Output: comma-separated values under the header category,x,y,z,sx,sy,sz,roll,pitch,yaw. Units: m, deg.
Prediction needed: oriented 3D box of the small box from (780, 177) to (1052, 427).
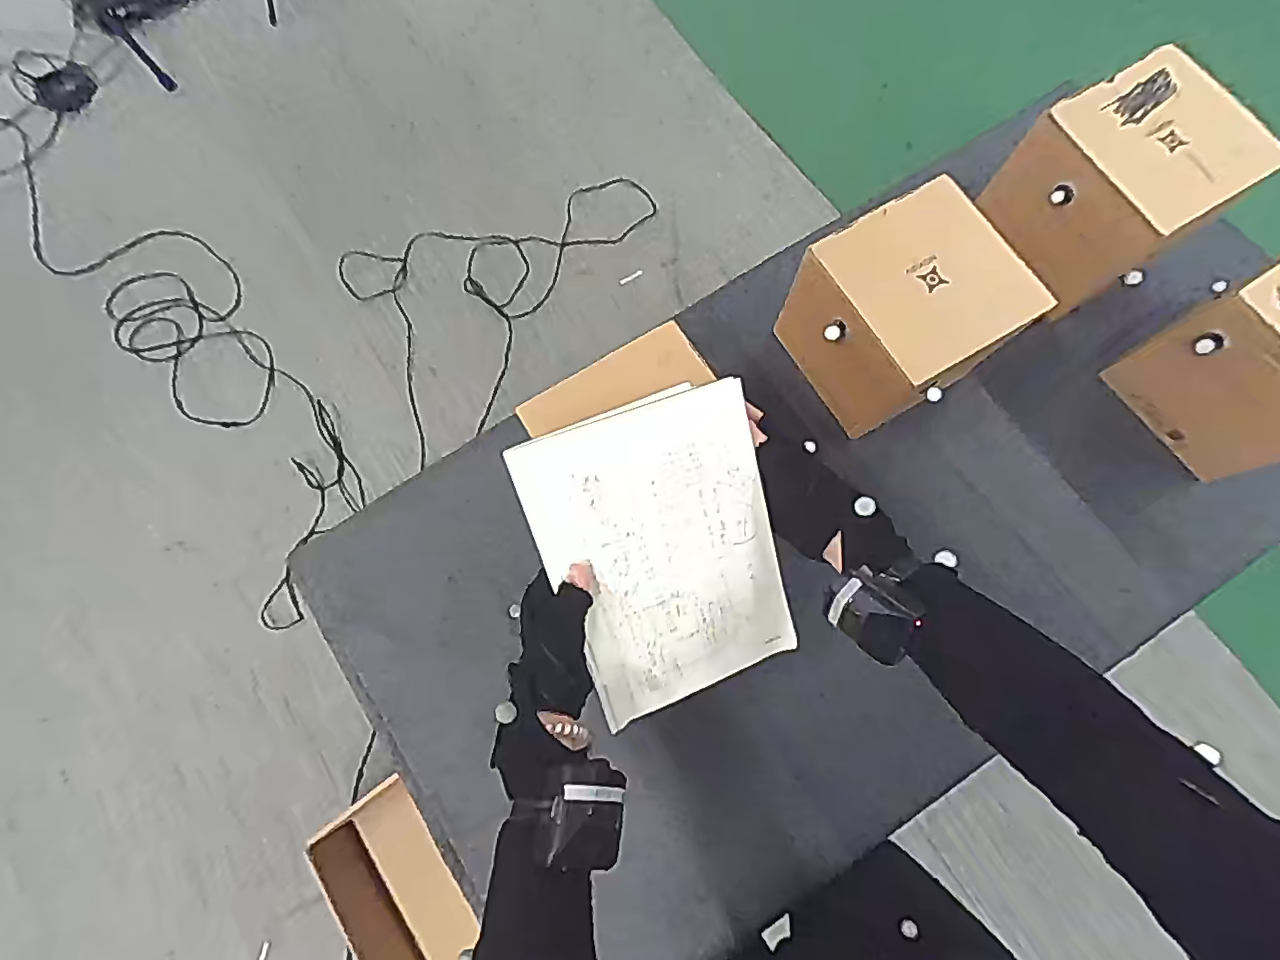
category,x,y,z,sx,sy,sz,roll,pitch,yaw
small box,0.281,-0.177,0.597,0.168,0.176,0.179,-30,76,-5

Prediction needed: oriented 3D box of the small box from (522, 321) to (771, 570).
category,x,y,z,sx,sy,sz,roll,pitch,yaw
small box,0.003,-0.024,0.564,0.179,0.176,0.168,-30,75,-8

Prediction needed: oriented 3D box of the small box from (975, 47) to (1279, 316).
category,x,y,z,sx,sy,sz,roll,pitch,yaw
small box,0.528,-0.326,0.619,0.168,0.176,0.179,-30,77,-4
